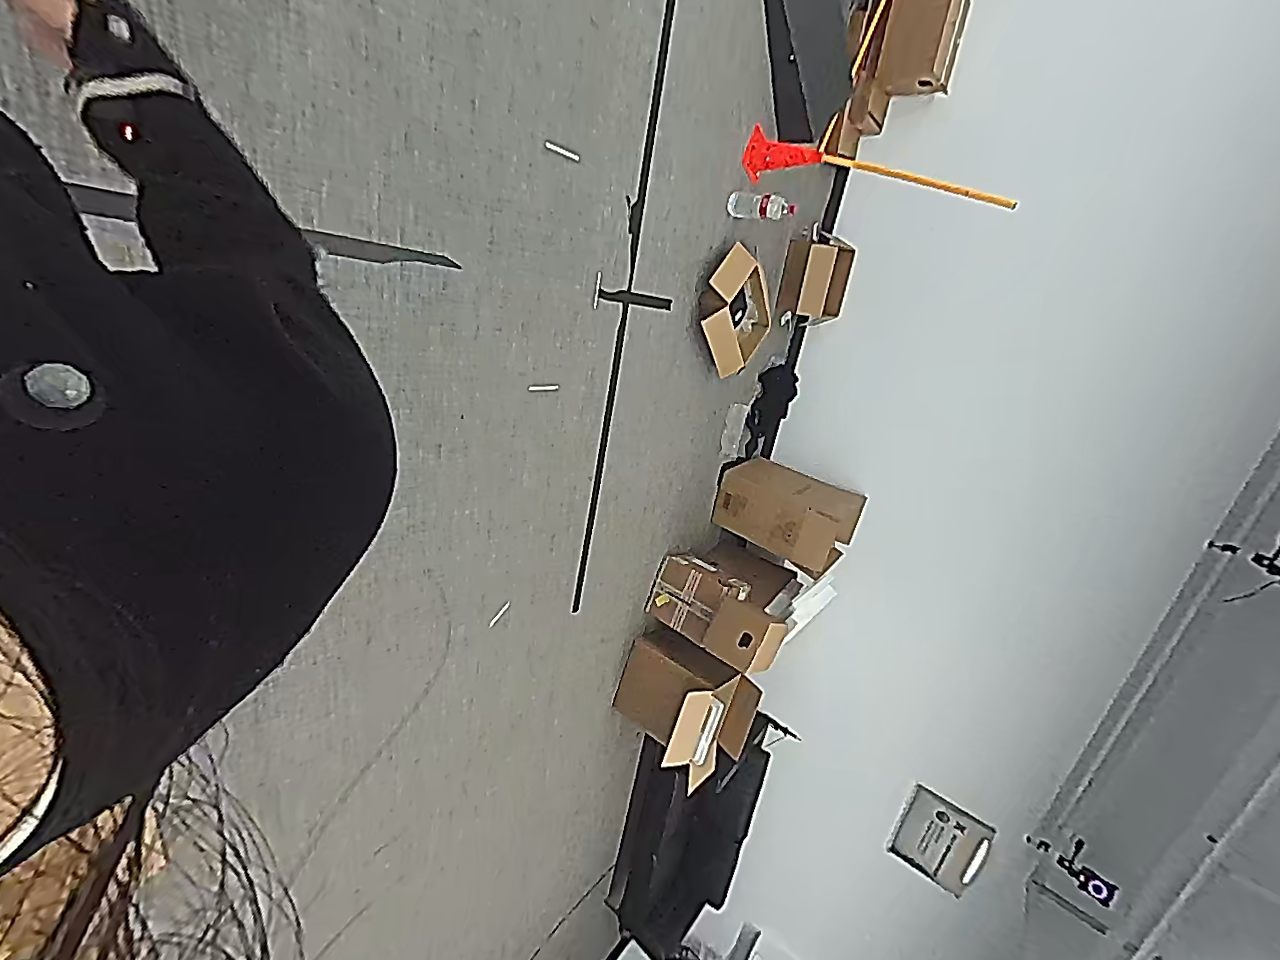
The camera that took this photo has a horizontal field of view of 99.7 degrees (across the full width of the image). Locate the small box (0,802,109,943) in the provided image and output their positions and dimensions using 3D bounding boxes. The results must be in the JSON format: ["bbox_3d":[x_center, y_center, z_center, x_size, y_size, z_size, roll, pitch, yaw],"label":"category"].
[{"bbox_3d":[-1.373,0.891,1.255,0.168,0.176,0.179,-12,120,-51],"label":"small box"}]

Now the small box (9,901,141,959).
[{"bbox_3d":[-1.119,1.009,1.080,0.168,0.176,0.179,-15,122,-51],"label":"small box"}]
